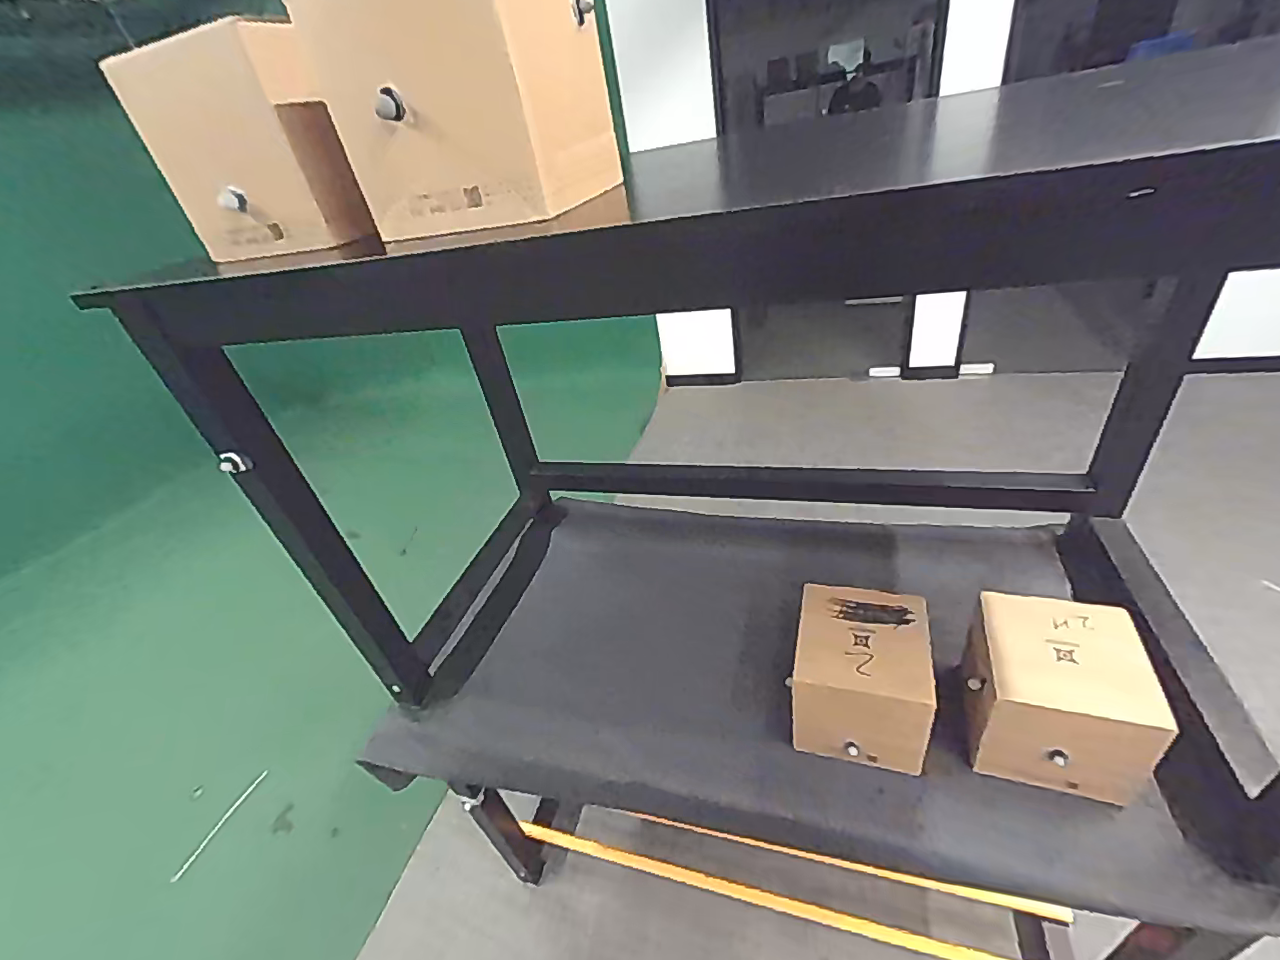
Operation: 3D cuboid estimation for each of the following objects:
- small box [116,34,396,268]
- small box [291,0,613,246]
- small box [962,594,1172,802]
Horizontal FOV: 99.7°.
[{"bbox_3d":[-0.343,-0.327,0.551,0.168,0.176,0.179,2,37,20],"label":"small box"},{"bbox_3d":[-0.135,-0.309,0.465,0.168,0.176,0.179,2,36,21],"label":"small box"},{"bbox_3d":[0.530,0.279,0.703,0.168,0.176,0.179,4,36,23],"label":"small box"}]
